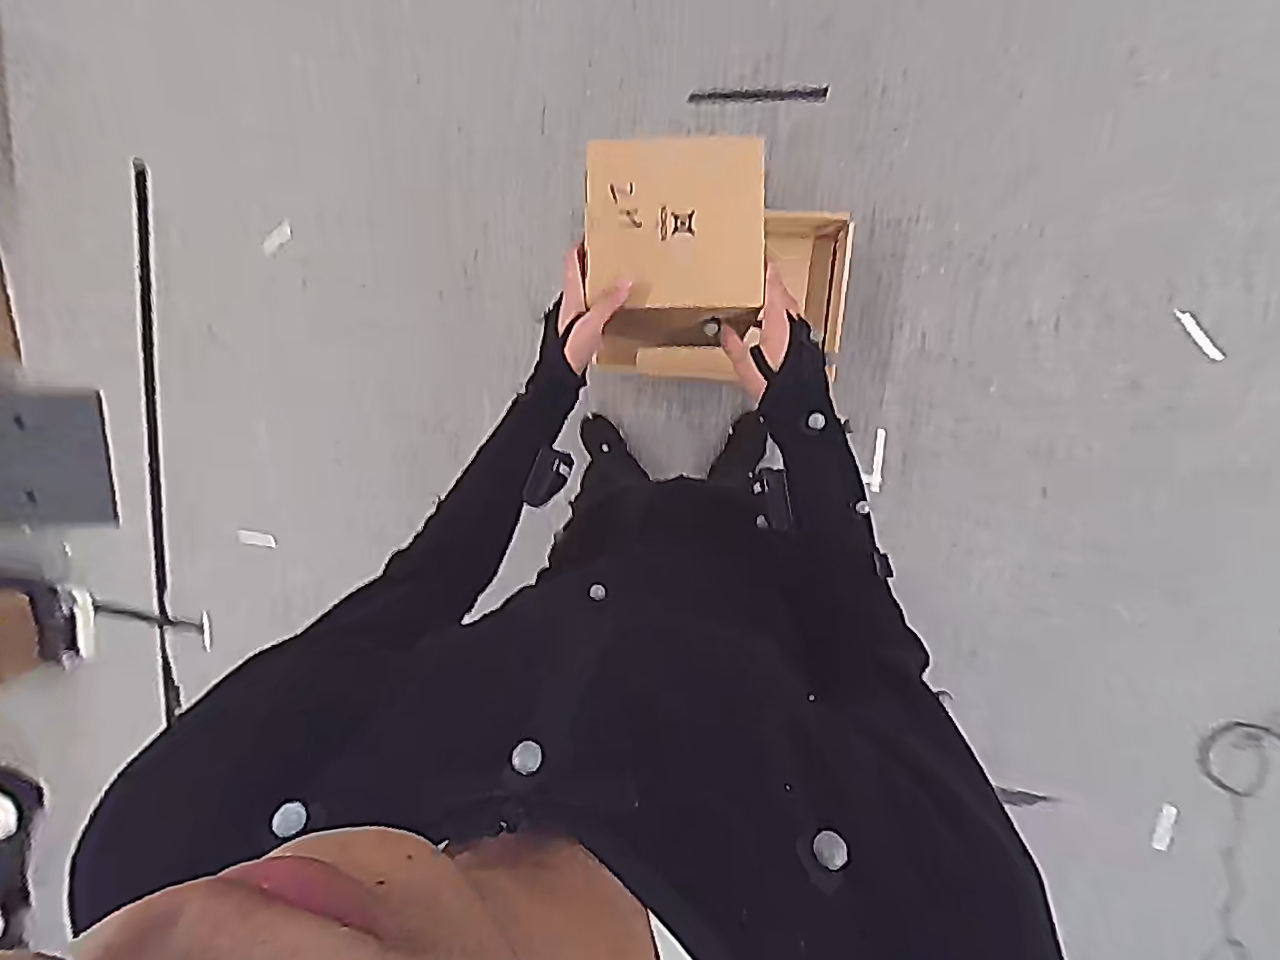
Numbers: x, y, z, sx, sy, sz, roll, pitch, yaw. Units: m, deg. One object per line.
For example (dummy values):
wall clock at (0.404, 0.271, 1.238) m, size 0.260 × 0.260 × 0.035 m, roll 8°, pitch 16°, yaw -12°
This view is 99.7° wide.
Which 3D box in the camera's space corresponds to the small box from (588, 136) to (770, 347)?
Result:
small box at (0.038, -0.247, 0.597) m, size 0.179 × 0.176 × 0.168 m, roll 0°, pitch 91°, yaw 2°
